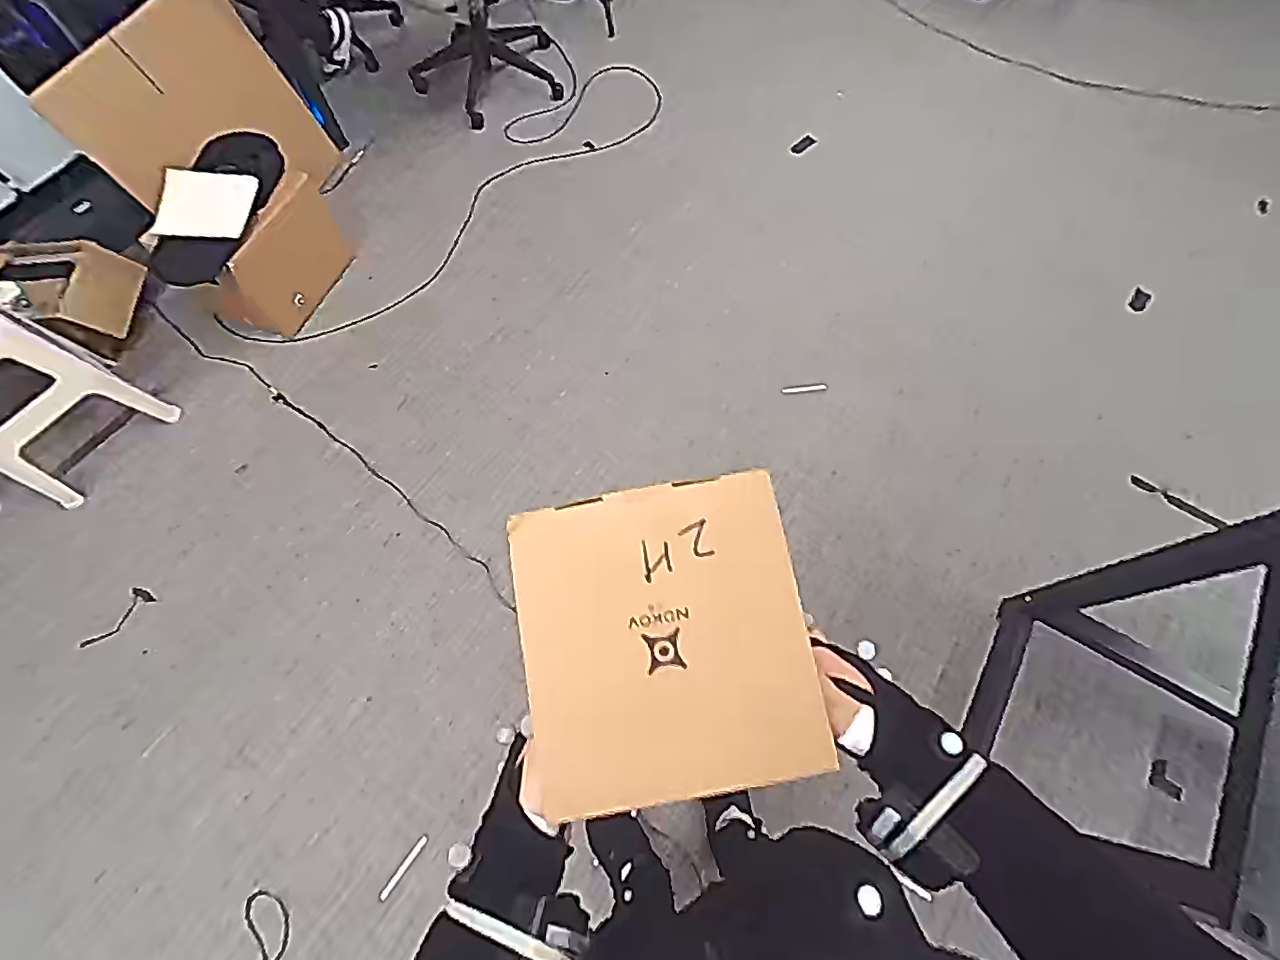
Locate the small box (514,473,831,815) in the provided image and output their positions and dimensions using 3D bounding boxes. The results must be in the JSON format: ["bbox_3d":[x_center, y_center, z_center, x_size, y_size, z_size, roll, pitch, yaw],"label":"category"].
[{"bbox_3d":[0.018,0.109,0.398,0.168,0.176,0.179,-10,76,0],"label":"small box"}]
